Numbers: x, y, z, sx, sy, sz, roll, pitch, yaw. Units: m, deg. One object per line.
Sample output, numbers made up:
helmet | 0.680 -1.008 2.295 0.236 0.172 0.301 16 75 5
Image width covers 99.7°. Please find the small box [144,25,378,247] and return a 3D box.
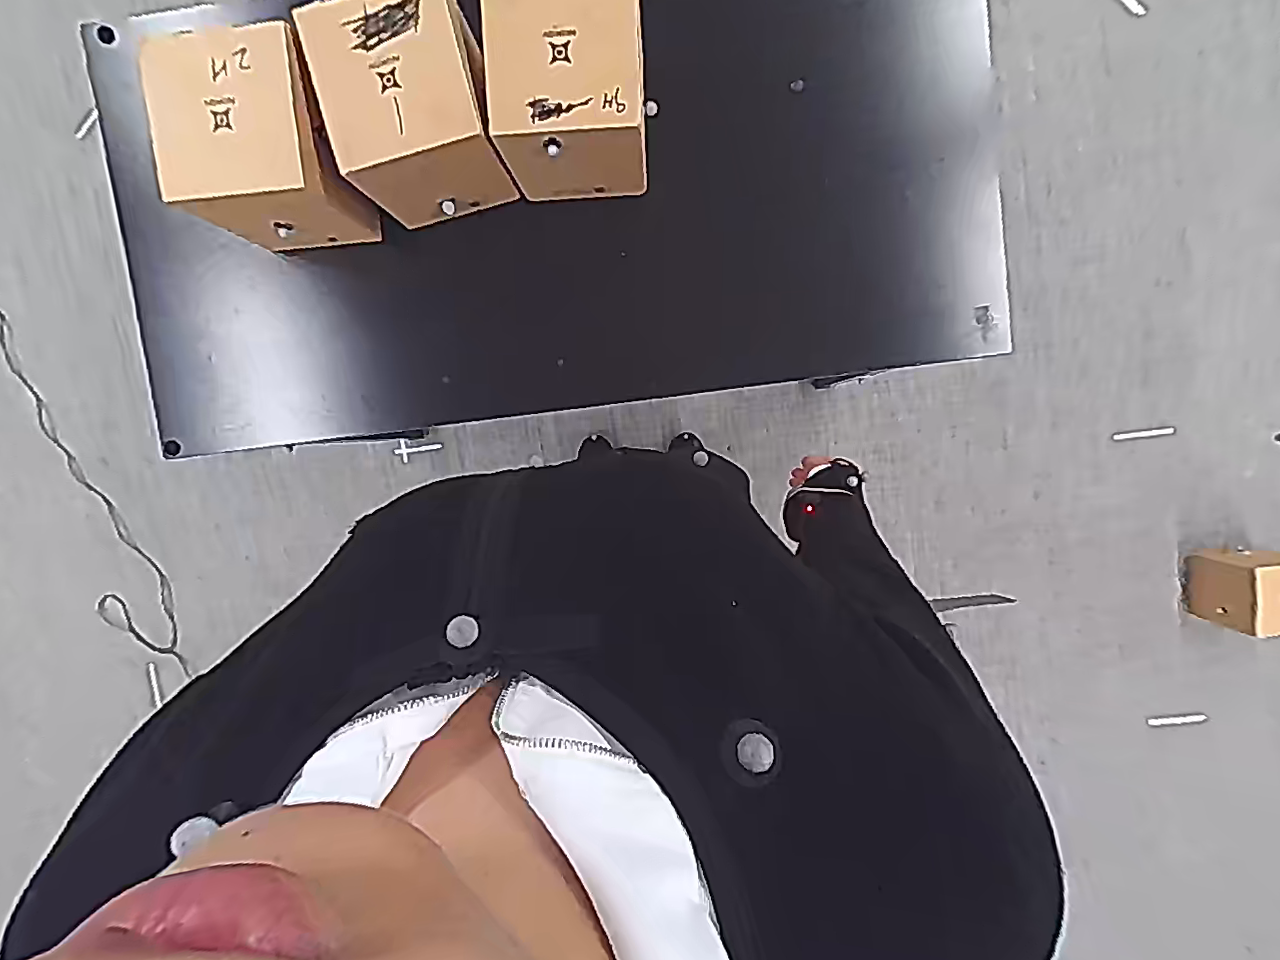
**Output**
small box | -0.450 -0.404 0.671 0.168 0.176 0.179 -4 94 2

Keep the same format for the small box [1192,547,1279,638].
small box | 1.552 0.277 1.358 0.168 0.176 0.179 -8 94 3
